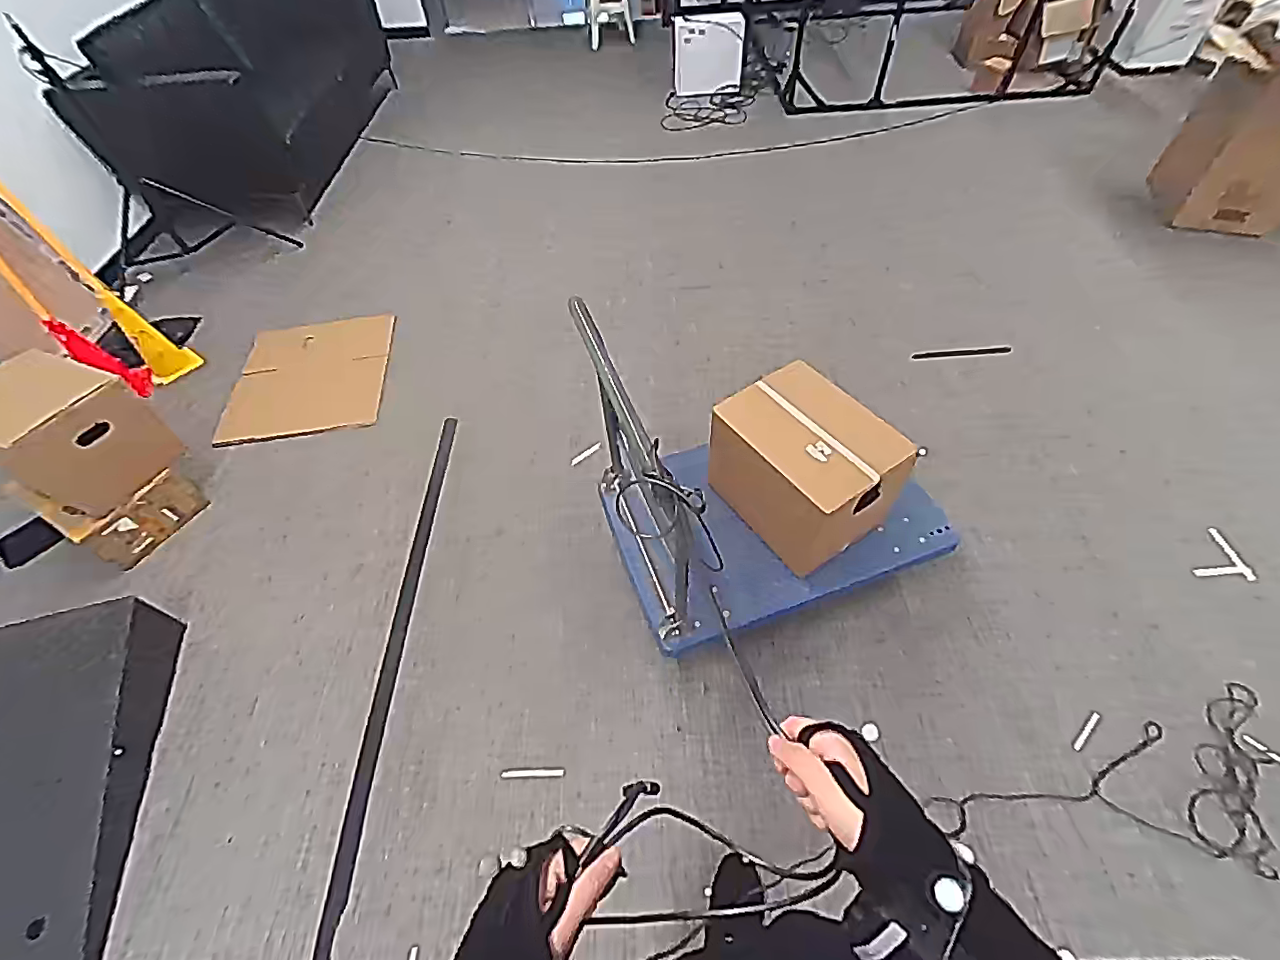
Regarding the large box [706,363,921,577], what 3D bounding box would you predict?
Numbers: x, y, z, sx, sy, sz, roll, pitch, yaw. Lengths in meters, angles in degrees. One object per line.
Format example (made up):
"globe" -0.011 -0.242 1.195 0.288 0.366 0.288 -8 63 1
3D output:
"large box" 0.424 -0.030 1.427 0.320 0.320 0.408 -30 58 -17
